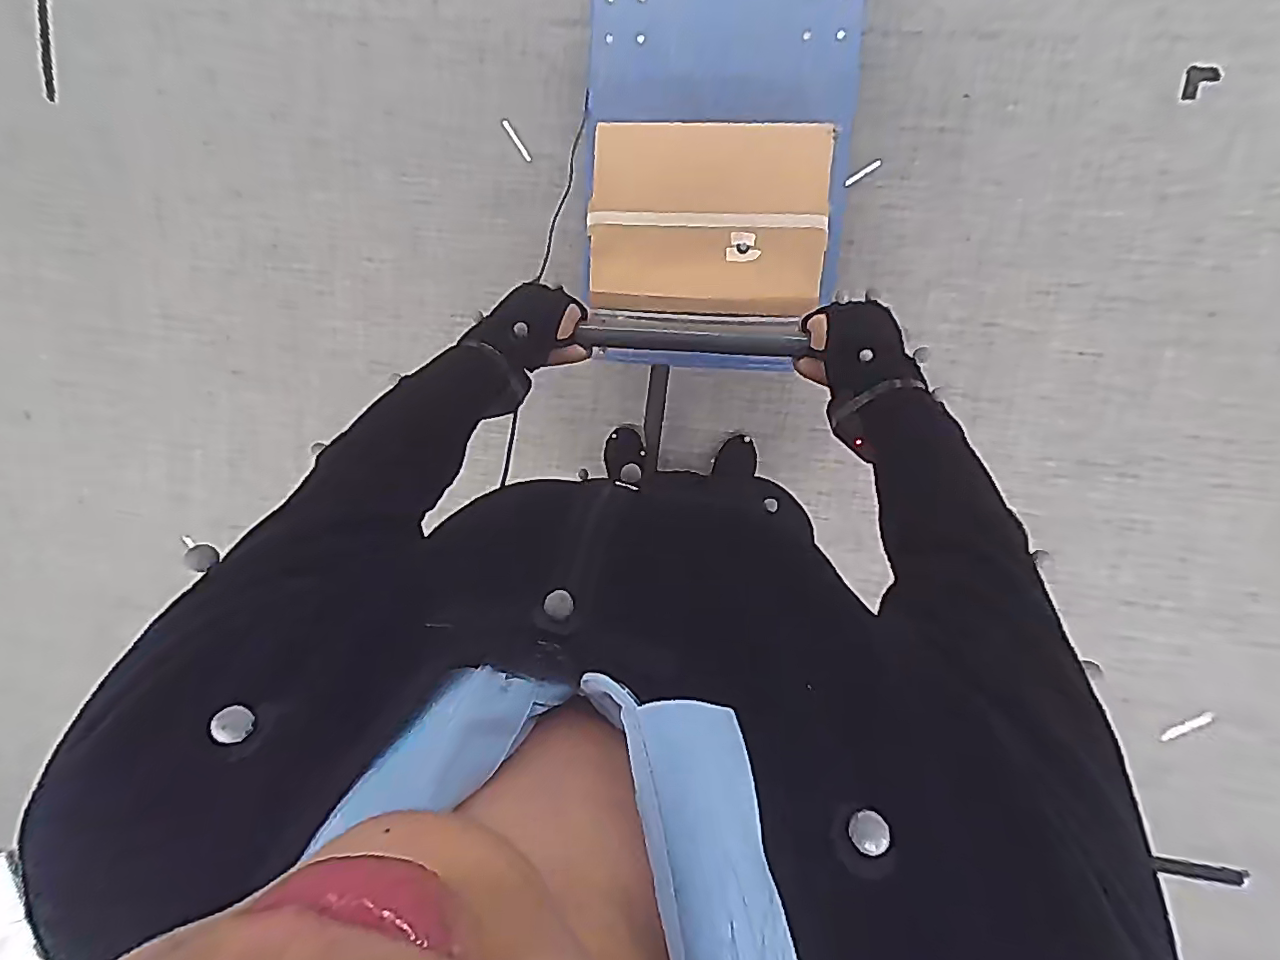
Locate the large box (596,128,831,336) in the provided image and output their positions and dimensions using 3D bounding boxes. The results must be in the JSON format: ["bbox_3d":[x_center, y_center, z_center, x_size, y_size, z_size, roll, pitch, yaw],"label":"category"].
[{"bbox_3d":[0.135,-0.474,1.099,0.408,0.320,0.320,4,99,5],"label":"large box"}]
